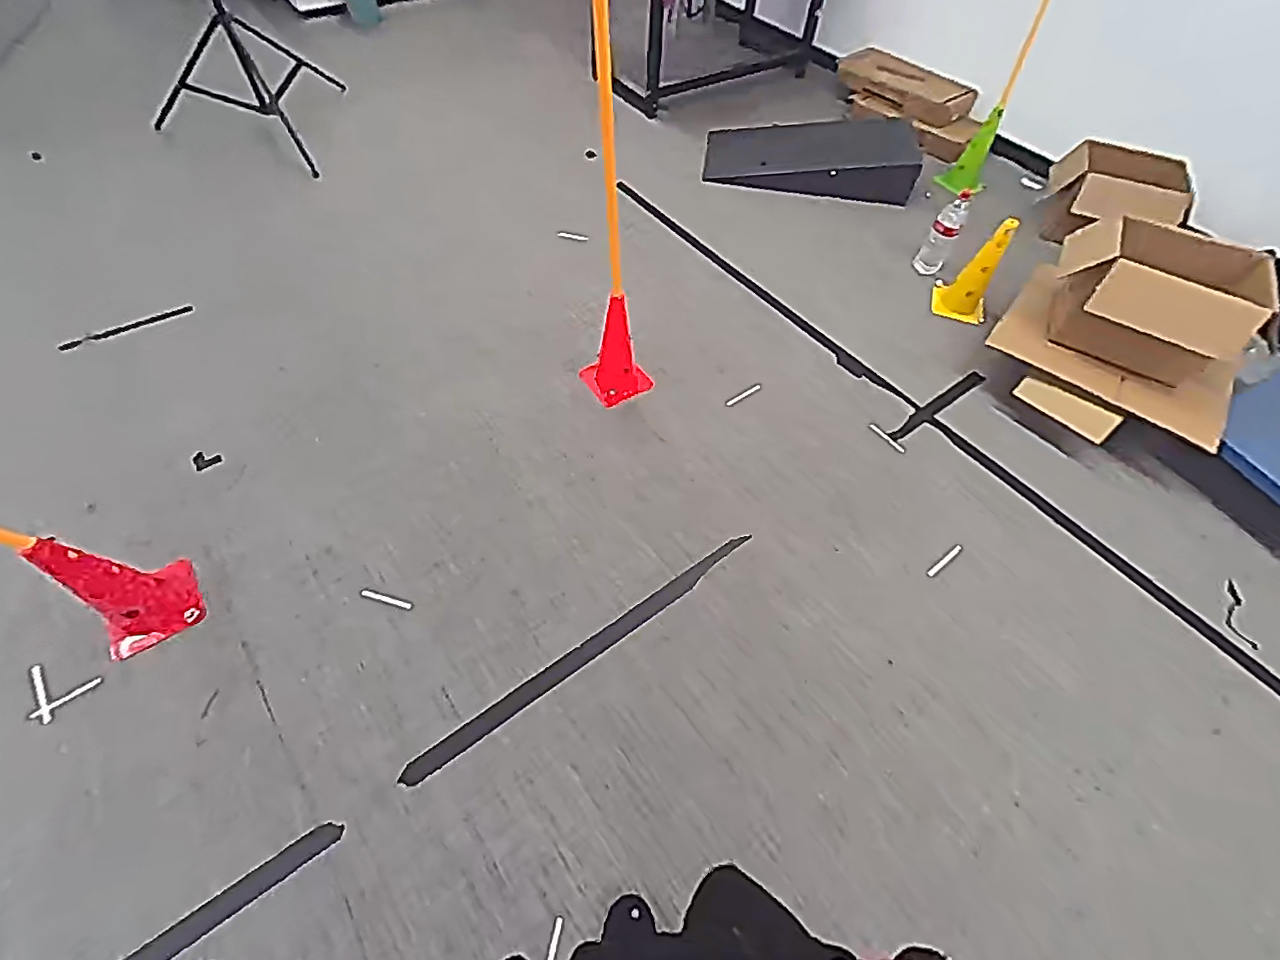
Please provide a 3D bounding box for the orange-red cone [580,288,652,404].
[{"bbox_3d":[-0.074,-0.447,1.710,0.199,0.360,0.198,-27,63,-21],"label":"orange-red cone"}]
